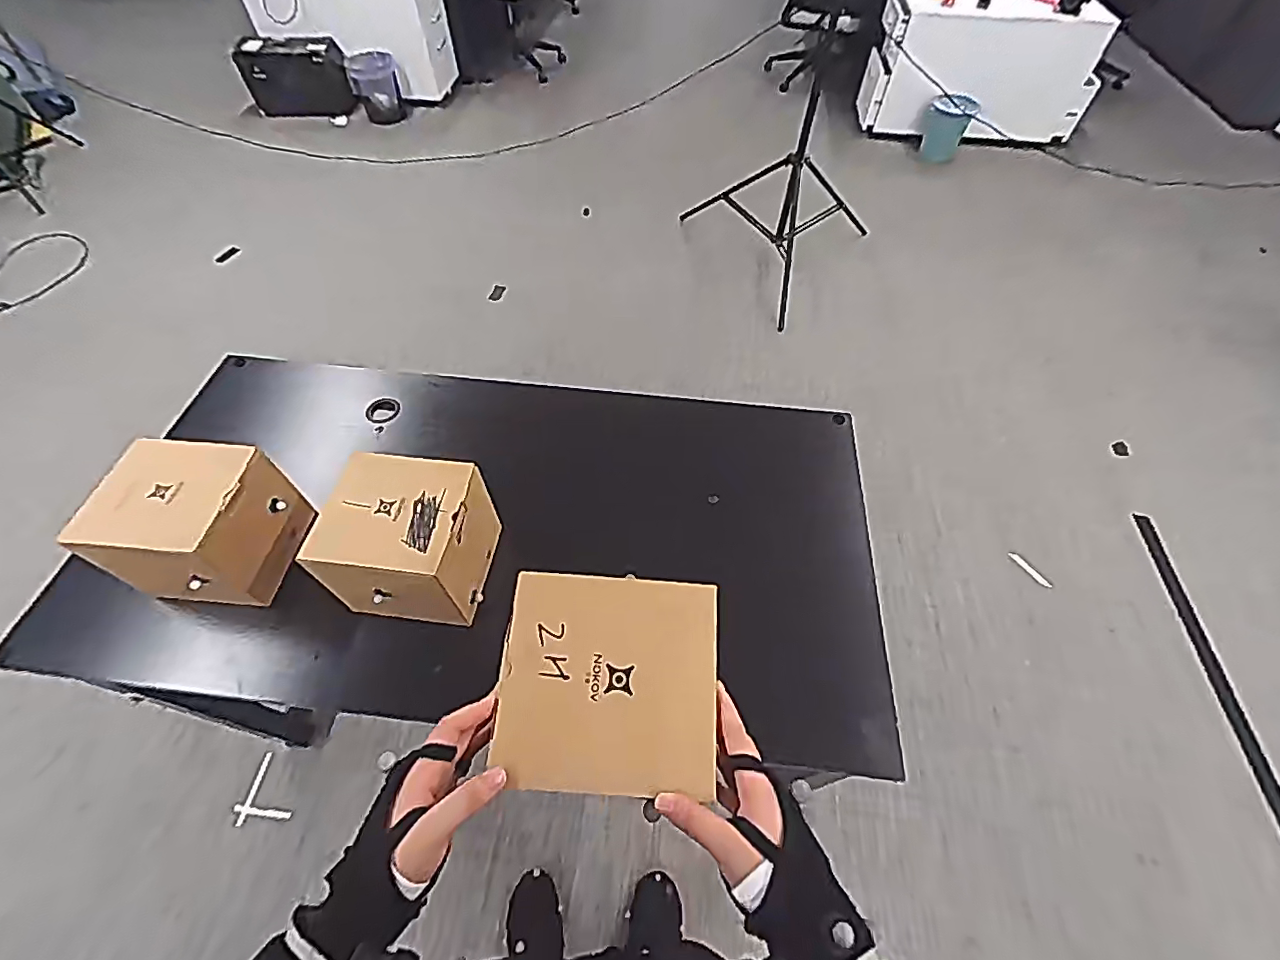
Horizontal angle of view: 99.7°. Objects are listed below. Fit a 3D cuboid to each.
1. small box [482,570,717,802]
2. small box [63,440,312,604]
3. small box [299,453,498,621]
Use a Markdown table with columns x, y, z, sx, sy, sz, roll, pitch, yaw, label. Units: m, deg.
| x | y | z | sx | sy | sz | roll | pitch | yaw | label |
| --- | --- | --- | --- | --- | --- | --- | --- | --- | --- |
| -0.028 | 0.194 | 0.509 | 0.179 | 0.176 | 0.168 | 4 | 63 | 1 | small box |
| -0.607 | 0.064 | 0.760 | 0.179 | 0.176 | 0.168 | 3 | 54 | 2 | small box |
| -0.313 | 0.085 | 0.749 | 0.179 | 0.176 | 0.168 | 6 | 55 | 4 | small box |
